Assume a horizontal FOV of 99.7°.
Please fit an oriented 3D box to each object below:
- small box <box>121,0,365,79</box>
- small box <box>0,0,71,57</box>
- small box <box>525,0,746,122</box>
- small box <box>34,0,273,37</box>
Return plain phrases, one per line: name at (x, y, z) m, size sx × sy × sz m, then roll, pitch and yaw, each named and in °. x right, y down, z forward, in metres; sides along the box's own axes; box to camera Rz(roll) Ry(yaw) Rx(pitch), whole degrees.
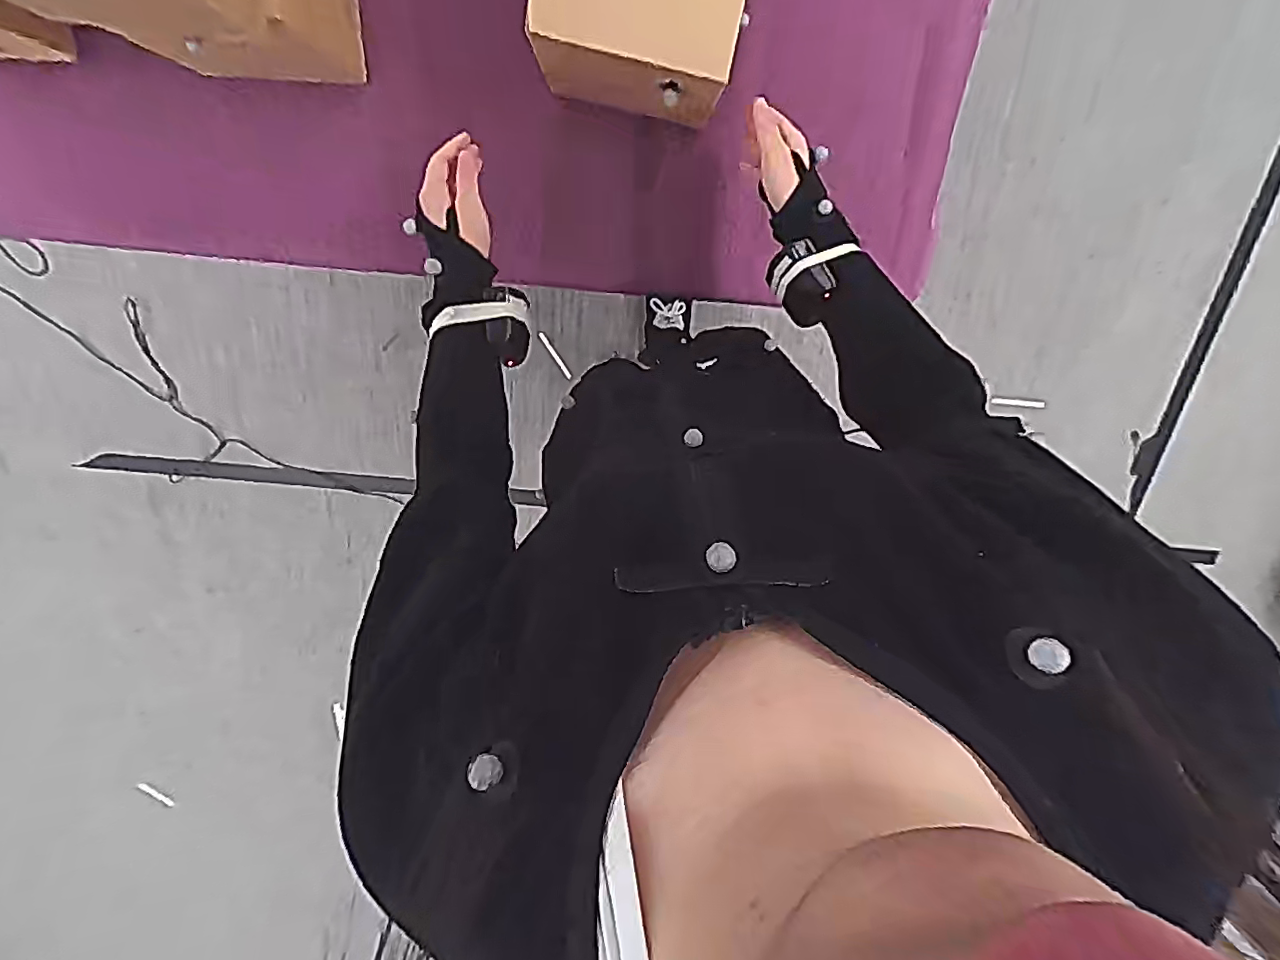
small box at (-0.377, -0.483, 0.481) m, size 0.179 × 0.176 × 0.168 m, roll 2°, pitch 112°, yaw -3°
small box at (-0.671, -0.499, 0.469) m, size 0.168 × 0.176 × 0.179 m, roll 1°, pitch 111°, yaw -2°
small box at (0.005, -0.457, 0.499) m, size 0.179 × 0.176 × 0.168 m, roll 11°, pitch 110°, yaw -5°
small box at (-0.375, -0.411, 0.335) m, size 0.179 × 0.176 × 0.168 m, roll 4°, pitch 113°, yaw -4°
